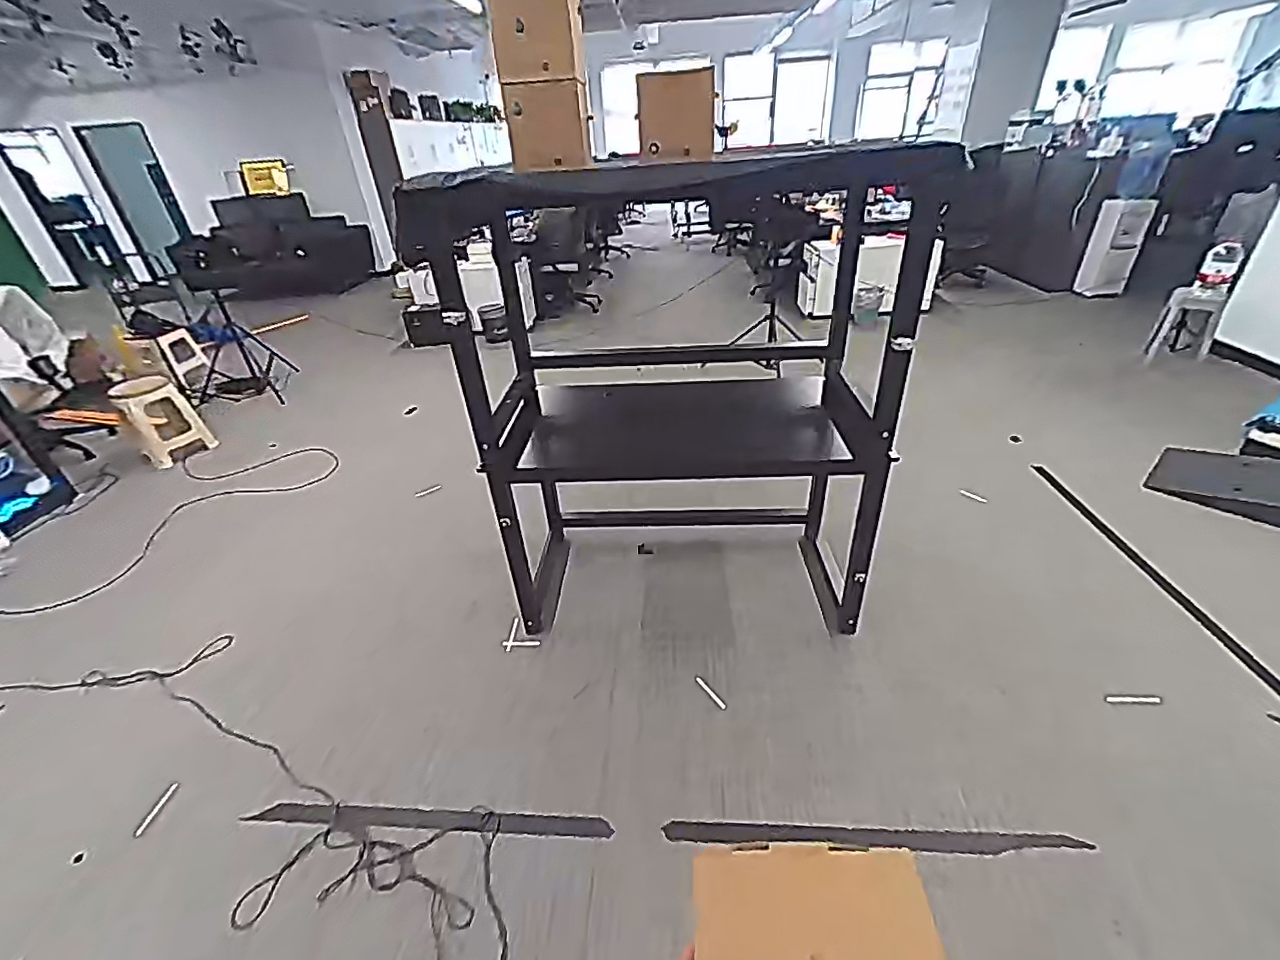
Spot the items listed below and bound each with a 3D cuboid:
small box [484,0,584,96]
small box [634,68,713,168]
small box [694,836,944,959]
[{"bbox_3d":[-0.216,-0.937,1.153,0.168,0.176,0.179,-2,31,4],"label":"small box"},{"bbox_3d":[0.080,-0.808,1.219,0.168,0.176,0.179,-1,30,5],"label":"small box"},{"bbox_3d":[0.124,0.391,0.392,0.168,0.176,0.179,-4,37,6],"label":"small box"}]
